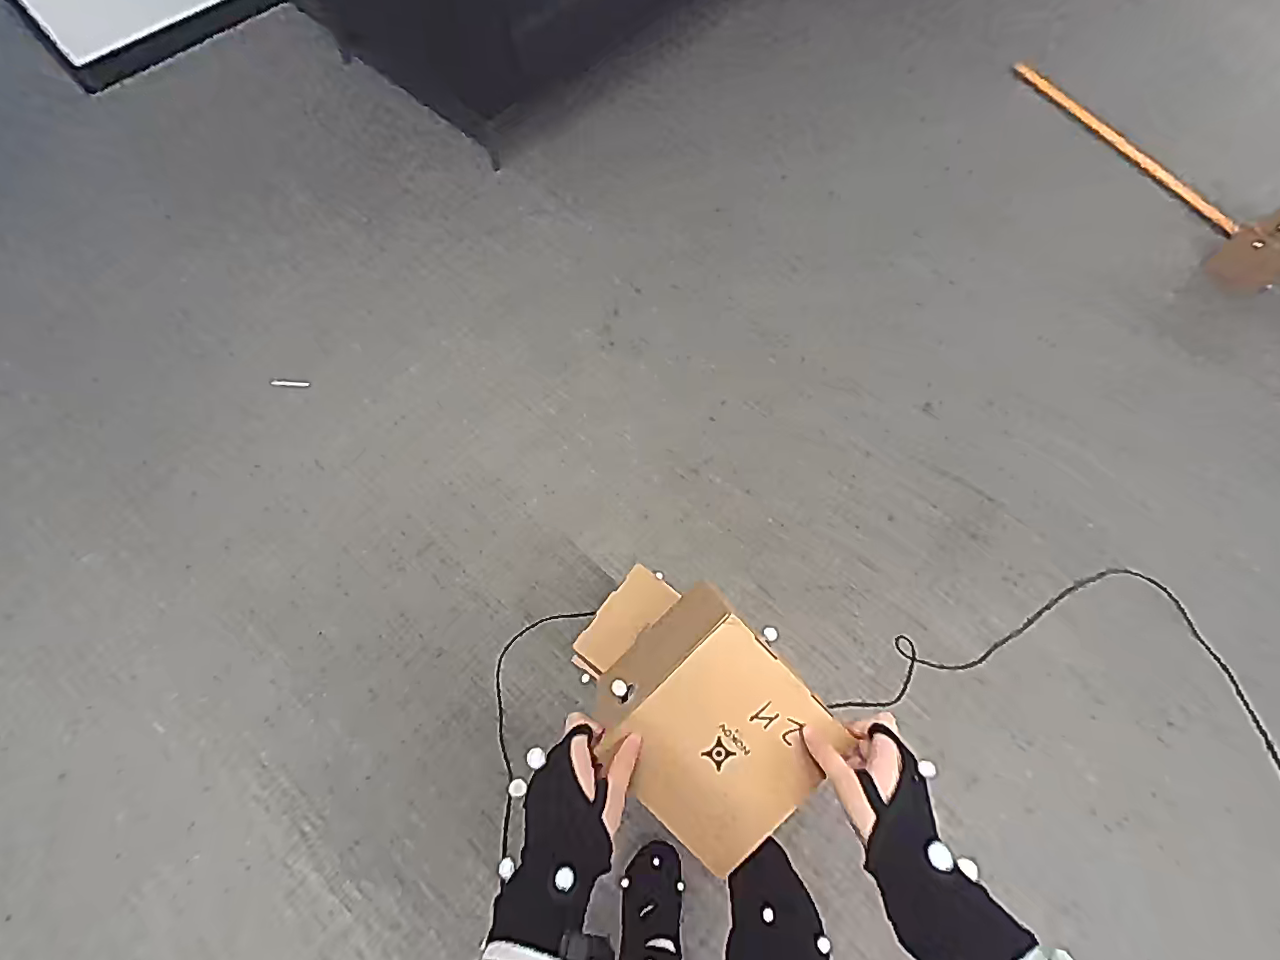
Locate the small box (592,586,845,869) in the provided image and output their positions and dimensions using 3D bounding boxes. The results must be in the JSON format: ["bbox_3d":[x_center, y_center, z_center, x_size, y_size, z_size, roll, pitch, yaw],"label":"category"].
[{"bbox_3d":[0.071,0.239,0.571,0.179,0.176,0.168,-45,92,-2],"label":"small box"}]

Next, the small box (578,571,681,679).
[{"bbox_3d":[0.021,0.281,0.899,0.179,0.176,0.168,35,71,14],"label":"small box"}]
